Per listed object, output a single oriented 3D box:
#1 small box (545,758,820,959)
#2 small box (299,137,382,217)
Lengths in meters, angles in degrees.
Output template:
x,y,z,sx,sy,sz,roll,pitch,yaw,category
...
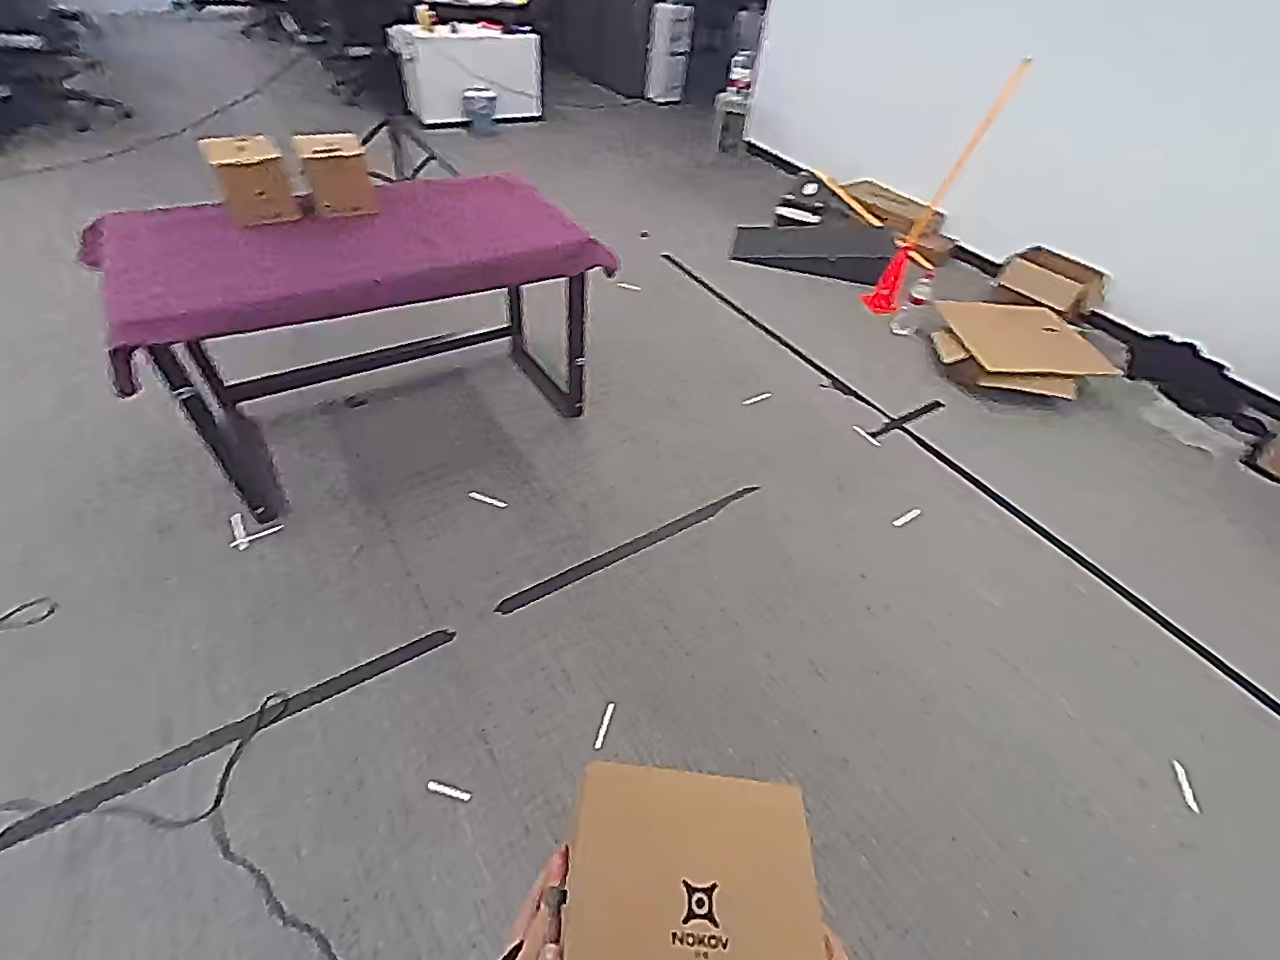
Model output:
x,y,z,sx,sy,sz,roll,pitch,yaw,category
0.018,0.334,0.395,0.168,0.176,0.179,9,42,-5,small box
-0.896,-0.906,1.626,0.168,0.176,0.179,-19,54,-24,small box
